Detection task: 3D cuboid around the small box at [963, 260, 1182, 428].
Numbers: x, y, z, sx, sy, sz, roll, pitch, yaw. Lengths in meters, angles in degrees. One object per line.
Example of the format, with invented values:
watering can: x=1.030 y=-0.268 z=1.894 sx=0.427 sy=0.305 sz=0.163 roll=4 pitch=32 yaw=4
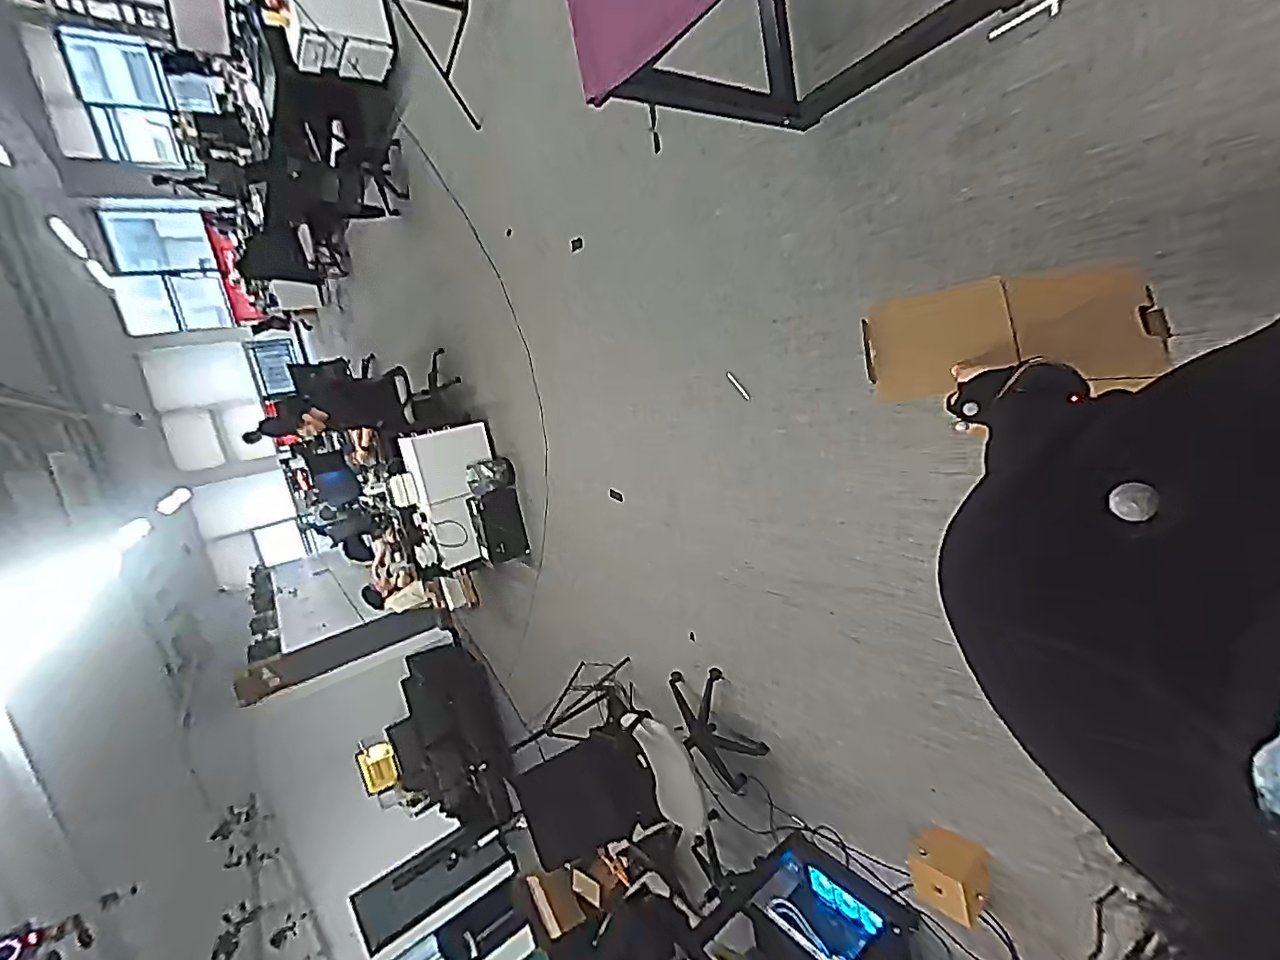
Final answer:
small box: x=0.577 y=-0.178 z=0.756 sx=0.176 sy=0.179 sz=0.168 roll=61 pitch=-150 yaw=-71
